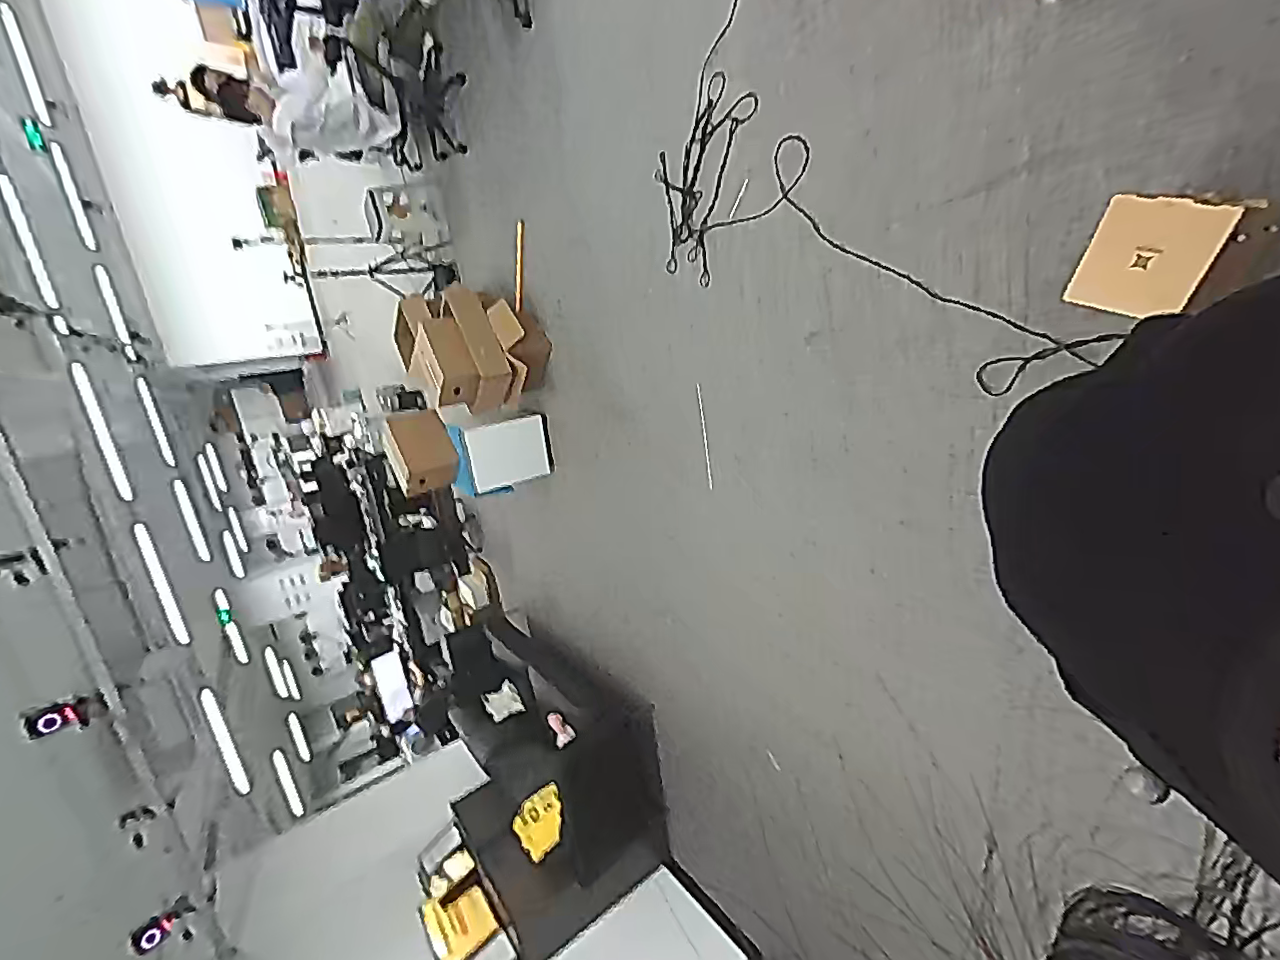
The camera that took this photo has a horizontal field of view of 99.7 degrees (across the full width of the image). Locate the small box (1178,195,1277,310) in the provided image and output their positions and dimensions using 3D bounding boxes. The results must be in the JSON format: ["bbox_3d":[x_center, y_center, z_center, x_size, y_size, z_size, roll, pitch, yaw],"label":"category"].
[{"bbox_3d":[1.015,-0.424,0.999,0.168,0.176,0.179,33,131,45],"label":"small box"}]

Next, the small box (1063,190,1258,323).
[{"bbox_3d":[0.881,-0.382,0.918,0.168,0.176,0.179,39,135,41],"label":"small box"}]
